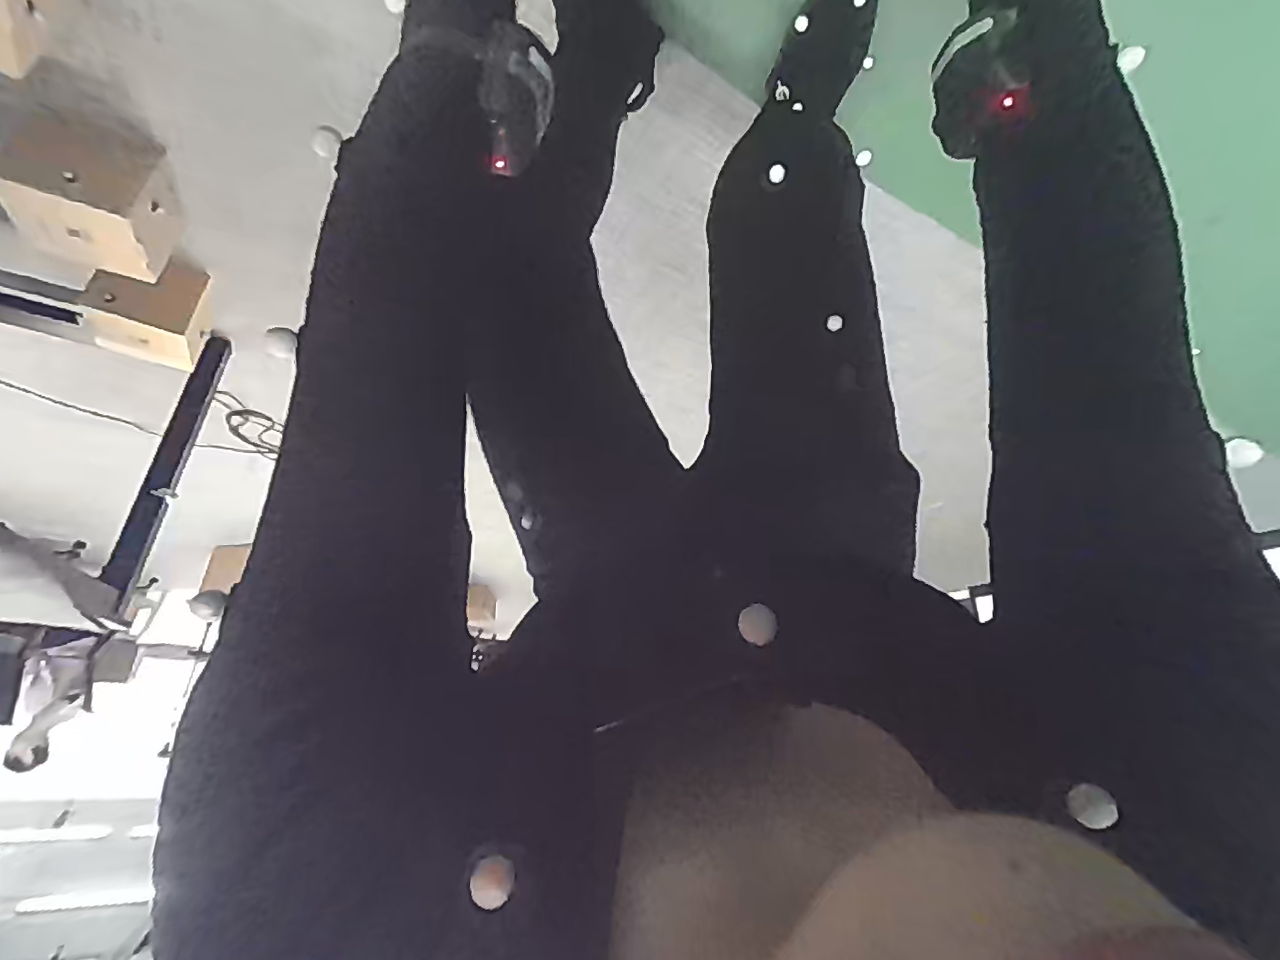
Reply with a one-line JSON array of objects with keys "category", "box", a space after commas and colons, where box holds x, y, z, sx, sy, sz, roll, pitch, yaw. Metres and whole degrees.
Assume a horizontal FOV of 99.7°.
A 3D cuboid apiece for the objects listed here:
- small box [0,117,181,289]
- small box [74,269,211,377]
[{"category": "small box", "box": [-0.931, -0.472, 0.929, 0.179, 0.176, 0.168, 14, 152, -23]}, {"category": "small box", "box": [-1.075, -0.361, 1.190, 0.179, 0.176, 0.168, 17, 152, -29]}]
